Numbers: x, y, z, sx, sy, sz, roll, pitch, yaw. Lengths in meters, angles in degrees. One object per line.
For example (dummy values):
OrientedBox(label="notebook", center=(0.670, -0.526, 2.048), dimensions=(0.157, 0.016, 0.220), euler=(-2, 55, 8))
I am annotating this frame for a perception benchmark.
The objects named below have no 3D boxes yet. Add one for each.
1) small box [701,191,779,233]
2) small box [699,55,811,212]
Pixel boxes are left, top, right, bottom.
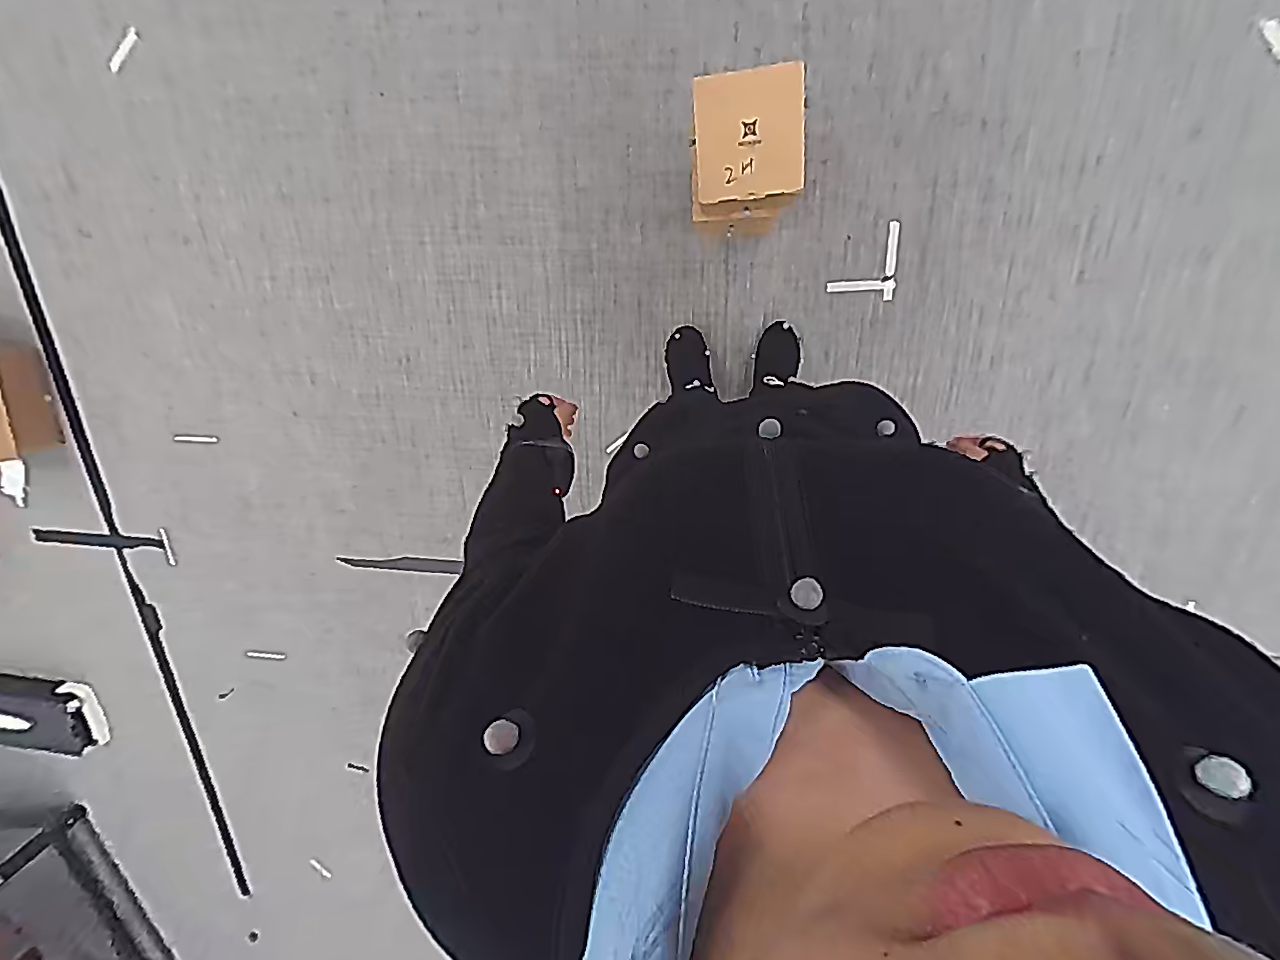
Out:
OrientedBox(label="small box", center=(0.221, -0.659, 1.207), dimensions=(0.168, 0.176, 0.179), euler=(1, 109, 7))
OrientedBox(label="small box", center=(0.184, -0.558, 0.896), dimensions=(0.168, 0.176, 0.179), euler=(-3, 110, 9))
